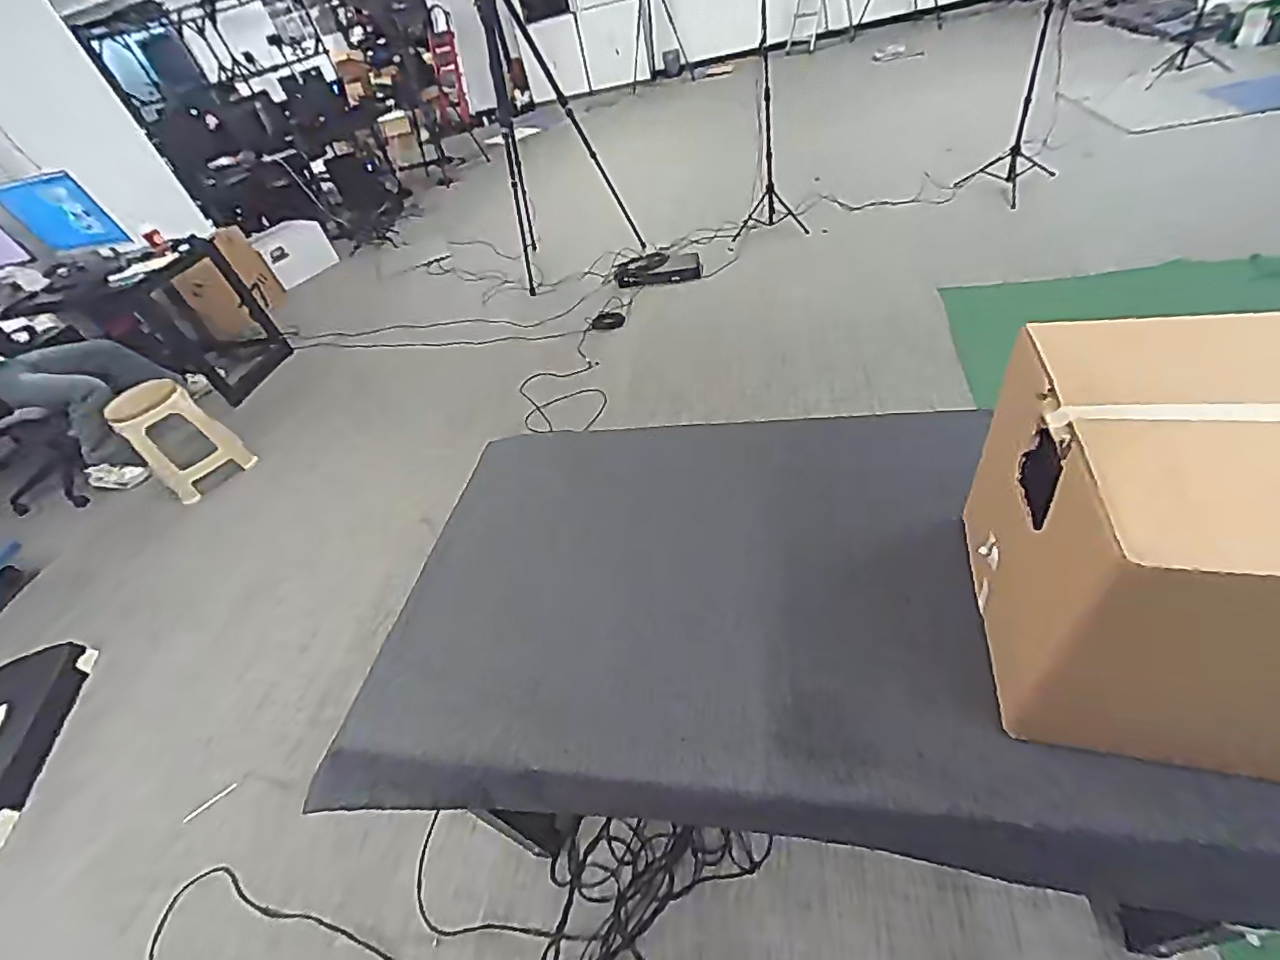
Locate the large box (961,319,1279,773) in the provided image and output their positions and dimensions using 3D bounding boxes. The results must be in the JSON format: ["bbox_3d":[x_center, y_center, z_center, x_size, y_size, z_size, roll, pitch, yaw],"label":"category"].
[{"bbox_3d":[0.580,0.061,0.508,0.408,0.320,0.320,3,47,18],"label":"large box"}]
